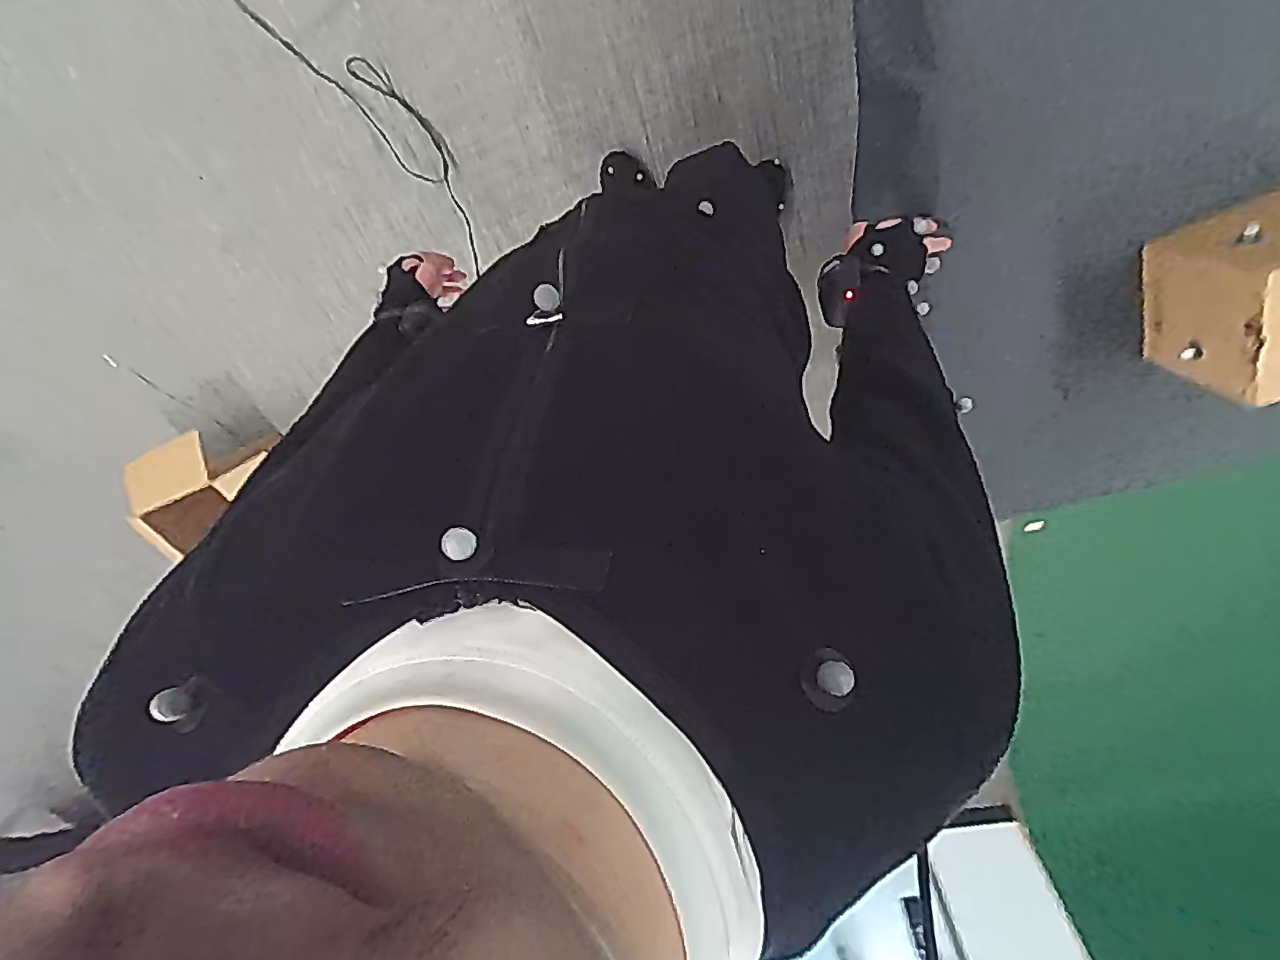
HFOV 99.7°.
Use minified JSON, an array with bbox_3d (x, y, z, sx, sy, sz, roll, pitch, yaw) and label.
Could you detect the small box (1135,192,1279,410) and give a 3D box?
[{"bbox_3d":[0.725,-0.212,0.625,0.179,0.176,0.168,-21,120,14],"label":"small box"}]
